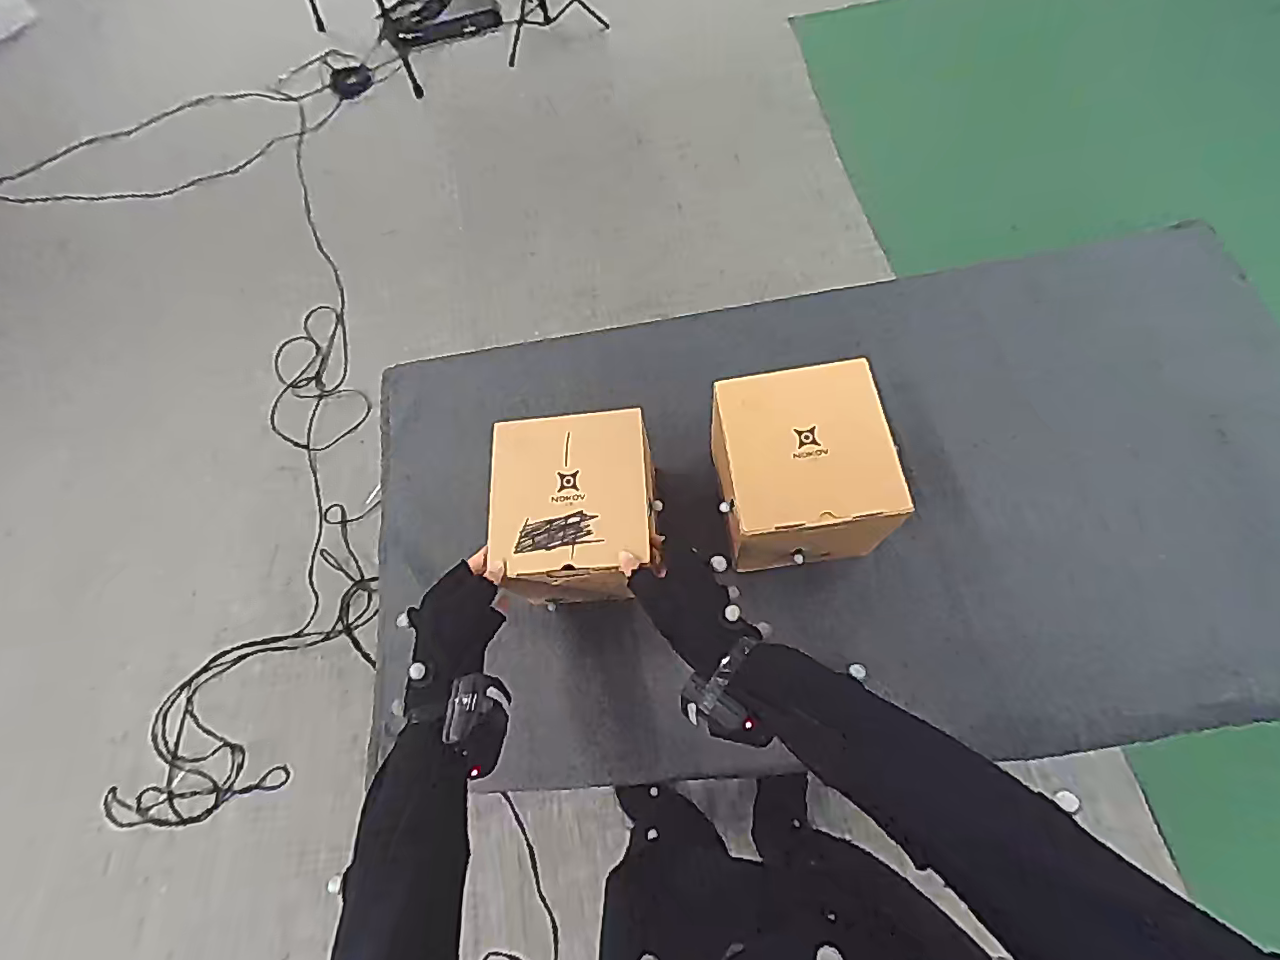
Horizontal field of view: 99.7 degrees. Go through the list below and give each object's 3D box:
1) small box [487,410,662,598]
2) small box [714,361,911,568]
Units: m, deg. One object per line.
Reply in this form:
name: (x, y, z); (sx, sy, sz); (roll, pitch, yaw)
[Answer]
small box: (-0.066, 0.040, 0.636); (0.168, 0.176, 0.179); (-5, 67, 5)
small box: (0.179, -0.009, 0.626); (0.168, 0.176, 0.179); (-9, 68, 4)
